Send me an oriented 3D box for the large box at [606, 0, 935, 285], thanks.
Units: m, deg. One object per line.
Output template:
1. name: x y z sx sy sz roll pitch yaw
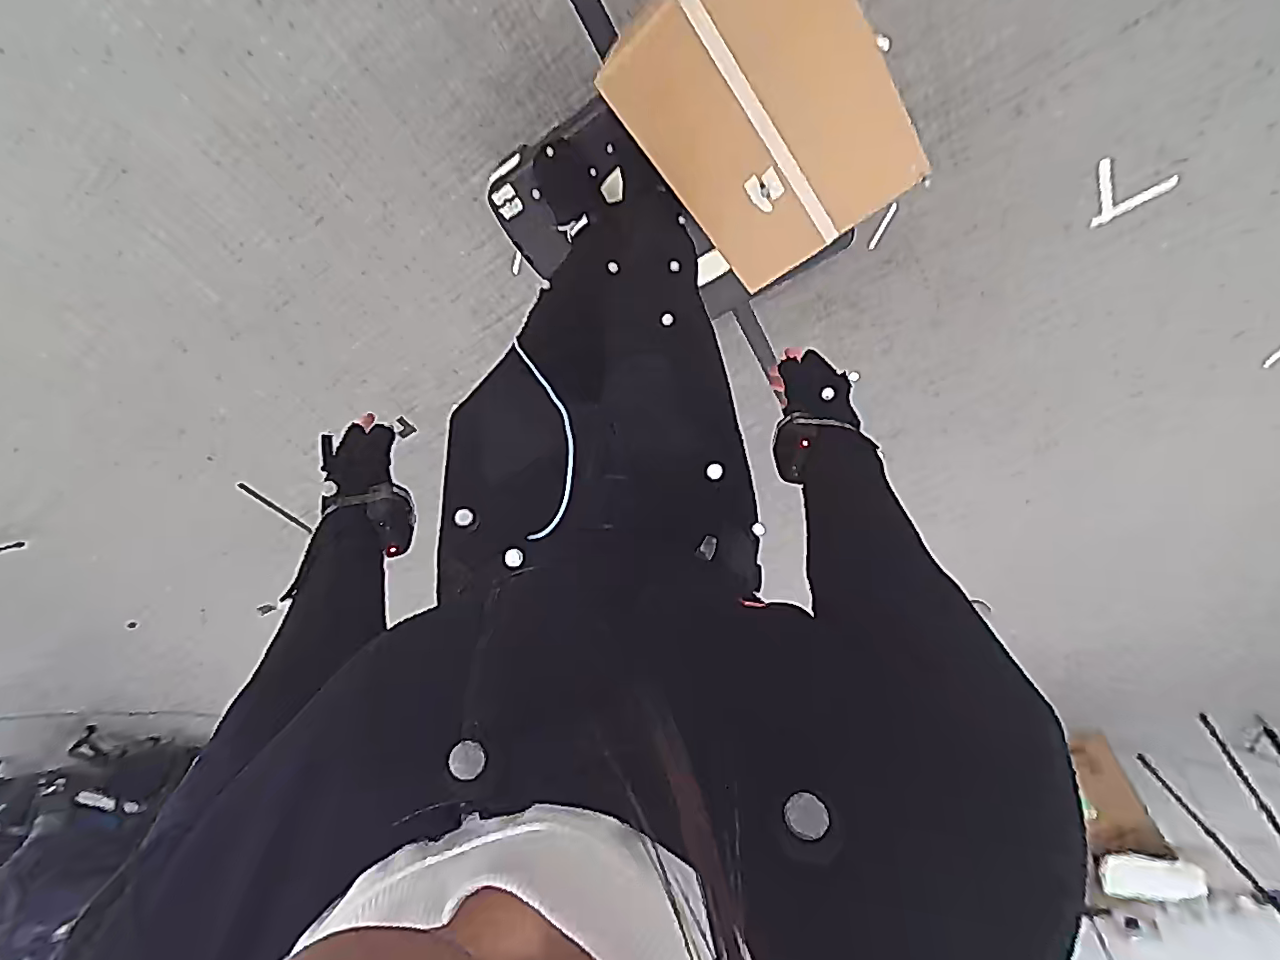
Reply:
1. large box: 0.203 -0.618 0.873 0.320 0.320 0.408 -27 129 33
